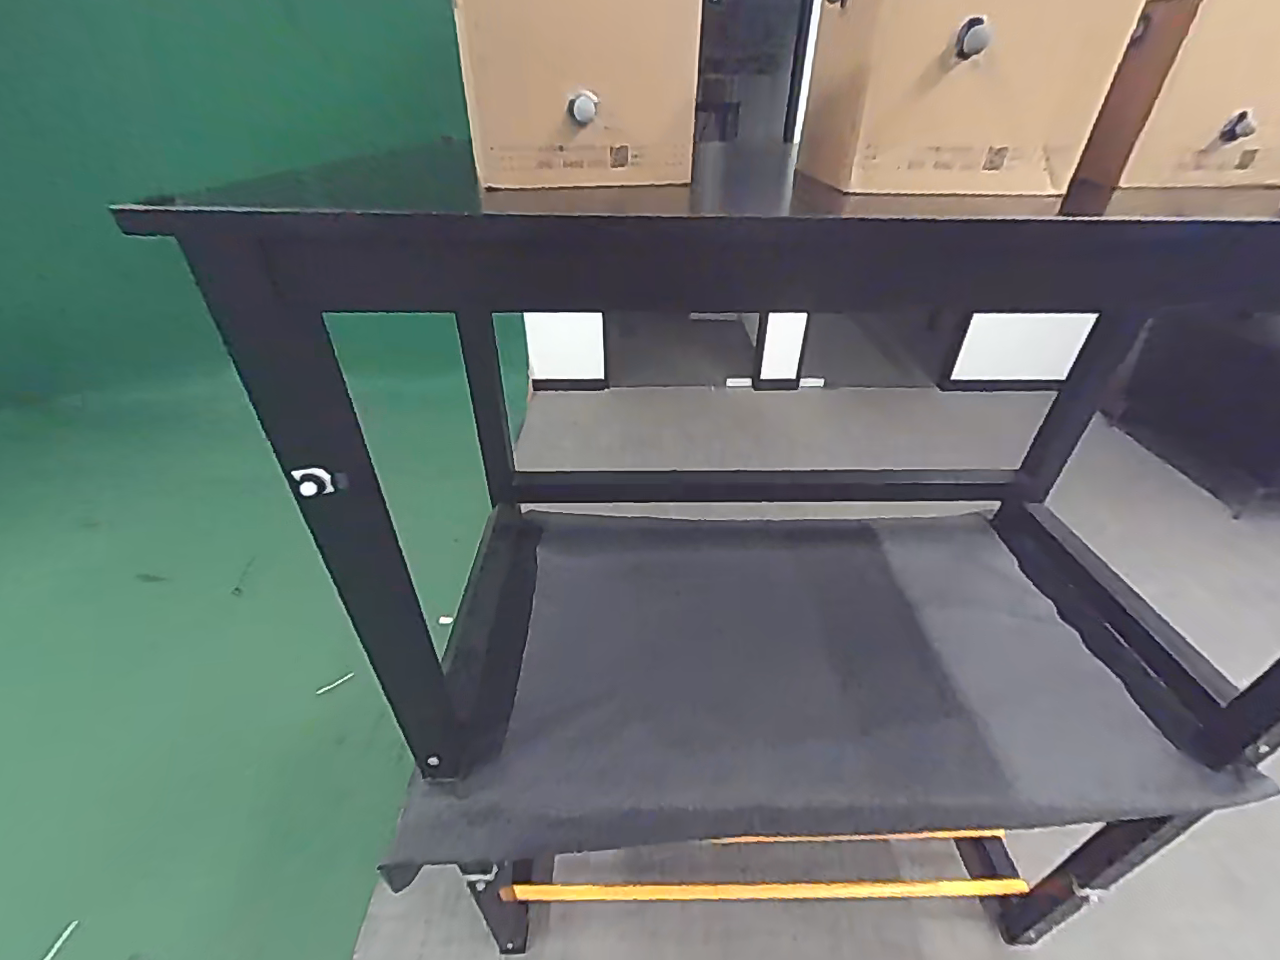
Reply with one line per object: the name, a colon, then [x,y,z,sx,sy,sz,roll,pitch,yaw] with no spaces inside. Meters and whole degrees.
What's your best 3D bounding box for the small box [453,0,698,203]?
small box: [-0.062,-0.336,0.446,0.168,0.176,0.179,-9,37,-14]
